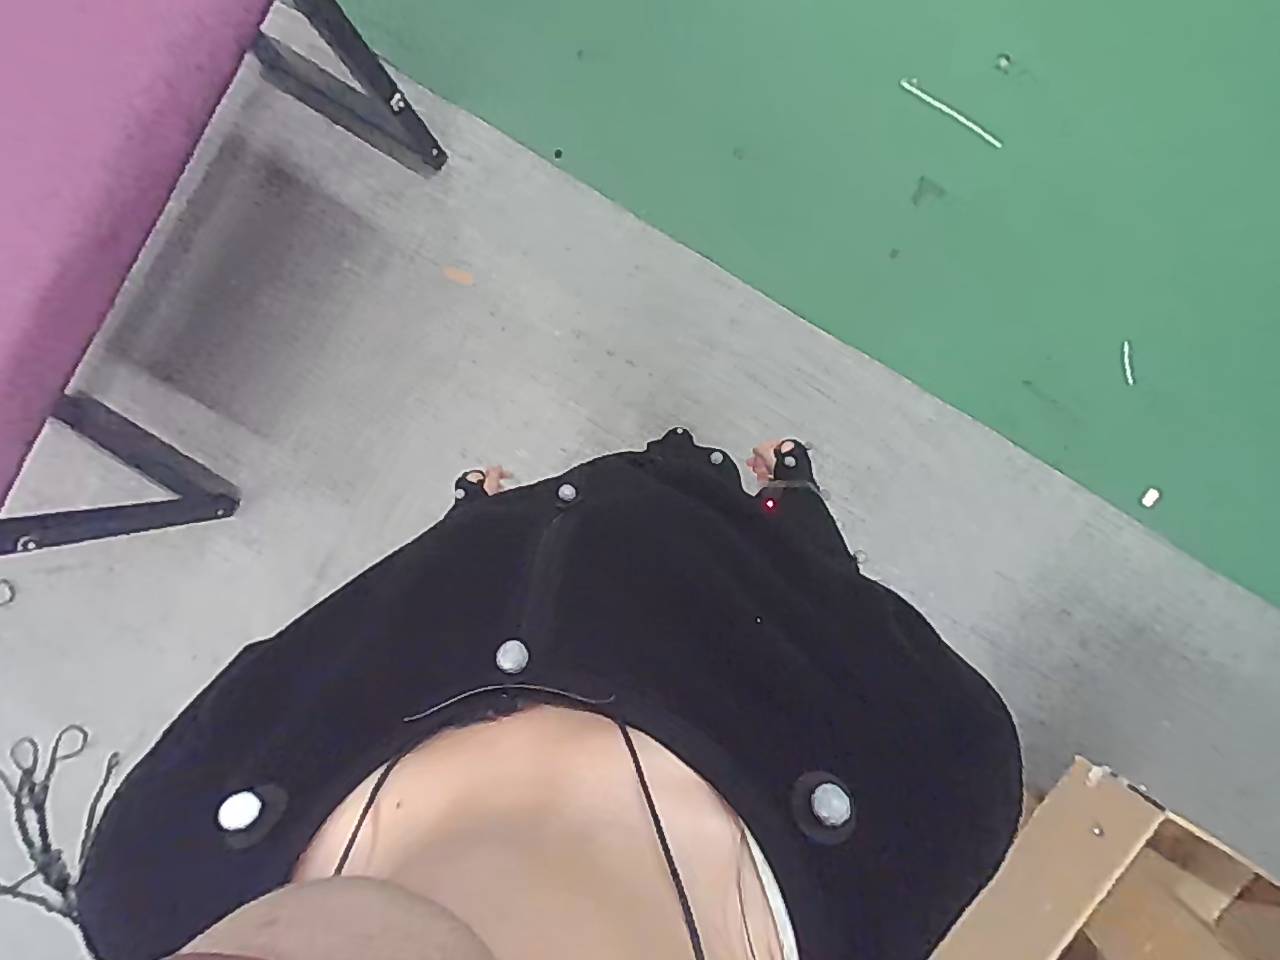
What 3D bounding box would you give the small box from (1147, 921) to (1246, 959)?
[{"bbox_3d":[0.968,0.888,0.876,0.168,0.176,0.179,39,97,-3],"label":"small box"}]
